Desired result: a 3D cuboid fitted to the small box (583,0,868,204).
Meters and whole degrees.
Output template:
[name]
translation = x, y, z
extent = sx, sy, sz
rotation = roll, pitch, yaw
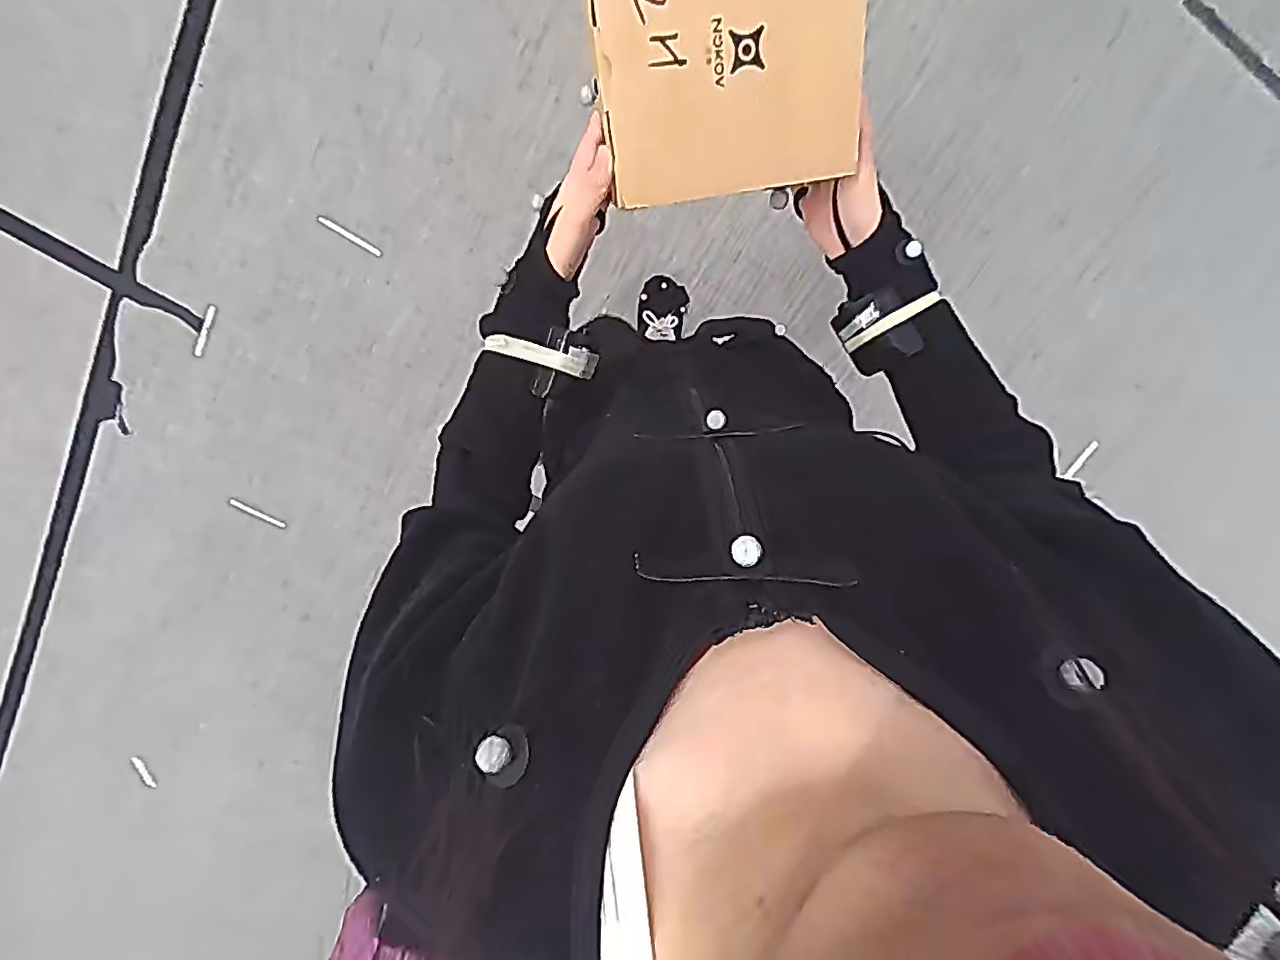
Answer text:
[small box]
translation = 0.054, -0.319, 0.417
extent = 0.179, 0.176, 0.168
rotation = -9, 119, 0
